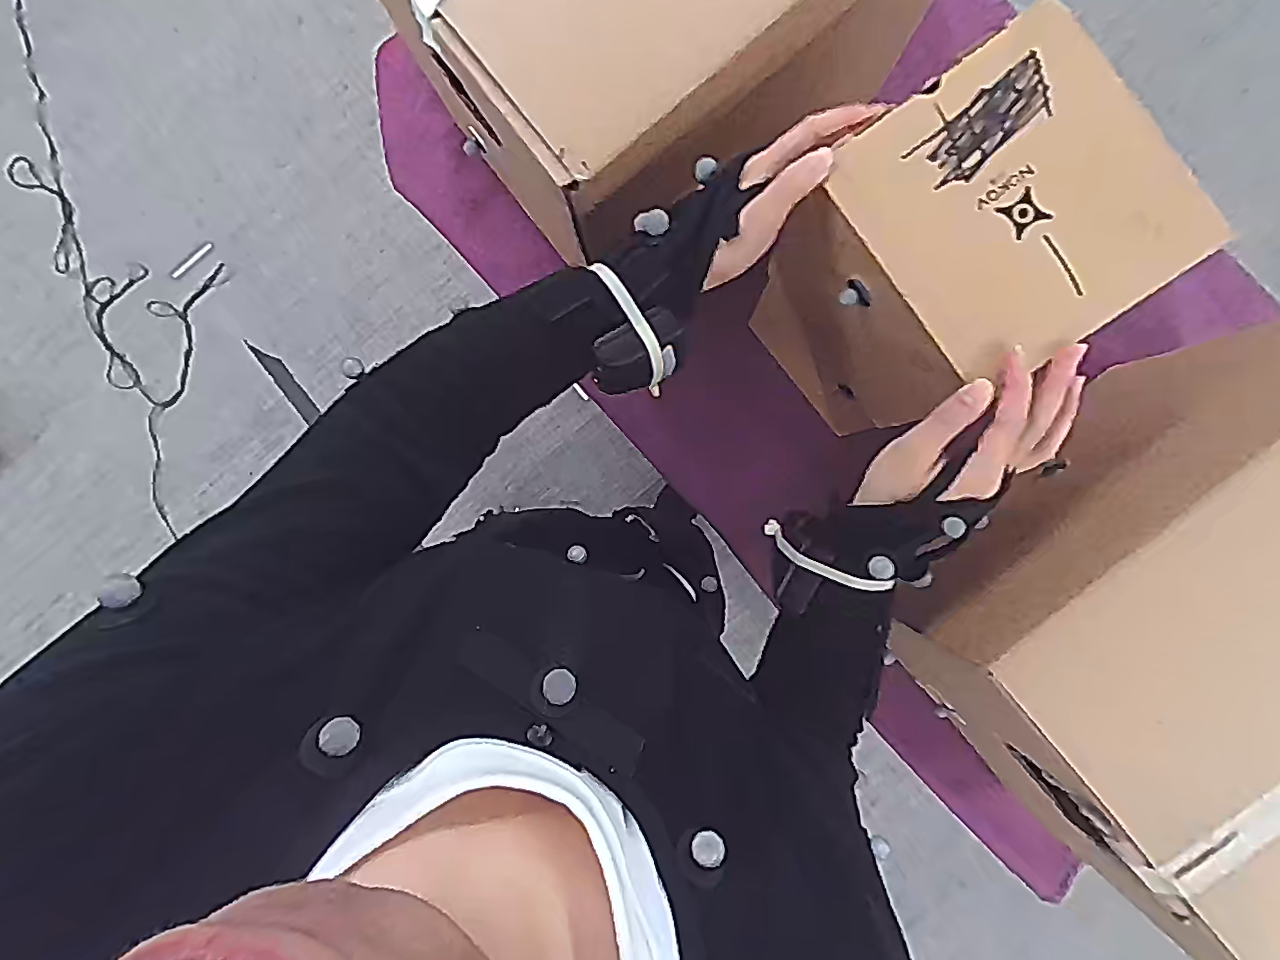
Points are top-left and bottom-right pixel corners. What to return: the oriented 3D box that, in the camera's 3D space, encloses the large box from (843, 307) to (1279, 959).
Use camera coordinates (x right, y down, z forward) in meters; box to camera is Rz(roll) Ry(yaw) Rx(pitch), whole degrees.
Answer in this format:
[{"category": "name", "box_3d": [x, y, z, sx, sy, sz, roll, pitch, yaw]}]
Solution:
[{"category": "large box", "box_3d": [0.467, 0.102, 0.466, 0.408, 0.320, 0.320, -40, 88, 1]}]
